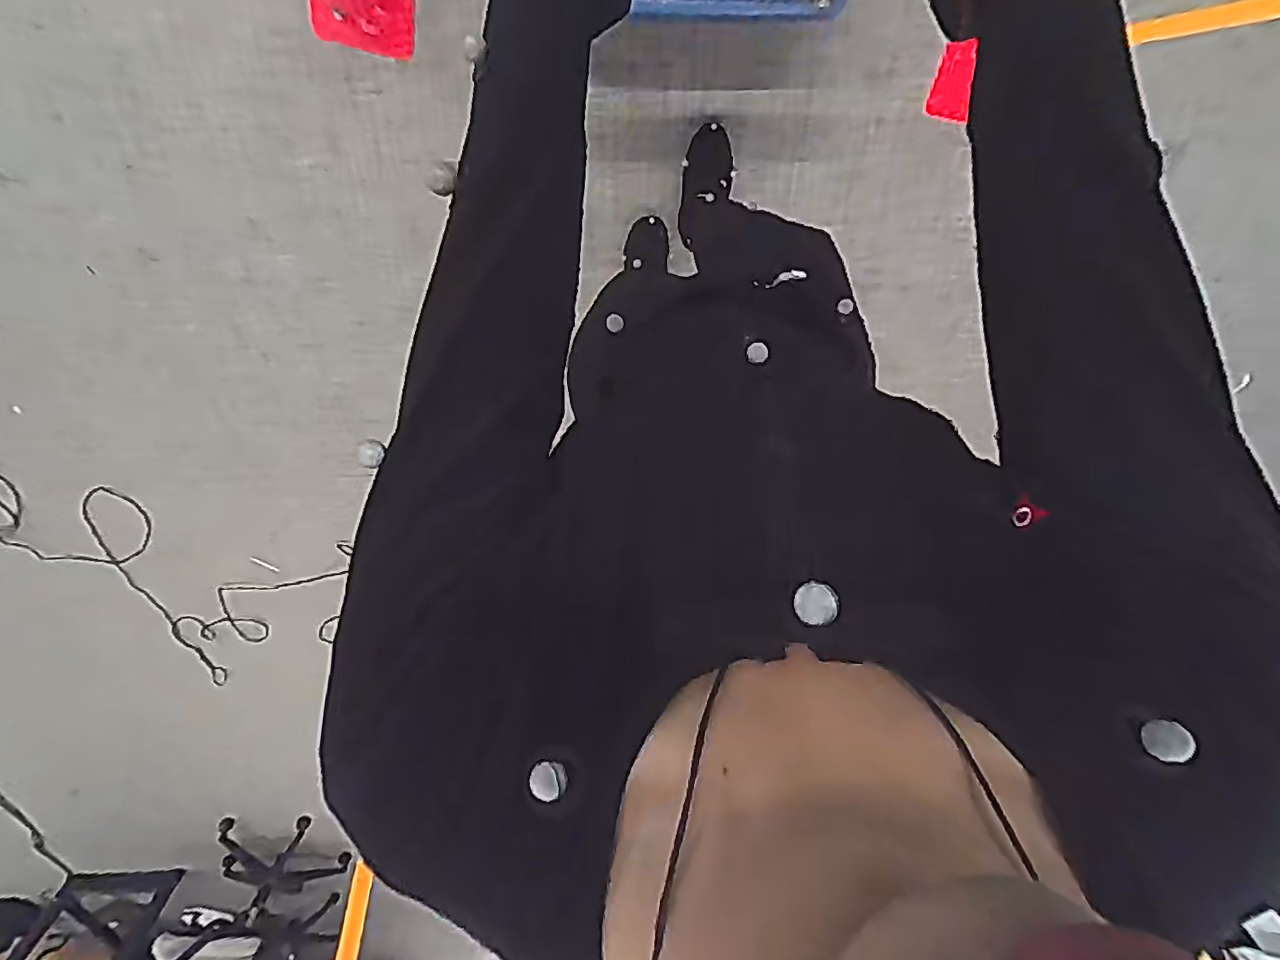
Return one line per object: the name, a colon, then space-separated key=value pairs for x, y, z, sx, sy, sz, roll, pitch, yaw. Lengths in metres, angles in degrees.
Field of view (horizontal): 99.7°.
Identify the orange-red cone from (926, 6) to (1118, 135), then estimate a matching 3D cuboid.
orange-red cone: x=0.739 y=-0.781 z=1.008 sx=0.198 sy=0.360 sz=0.199 roll=9 pitch=121 yaw=-6
